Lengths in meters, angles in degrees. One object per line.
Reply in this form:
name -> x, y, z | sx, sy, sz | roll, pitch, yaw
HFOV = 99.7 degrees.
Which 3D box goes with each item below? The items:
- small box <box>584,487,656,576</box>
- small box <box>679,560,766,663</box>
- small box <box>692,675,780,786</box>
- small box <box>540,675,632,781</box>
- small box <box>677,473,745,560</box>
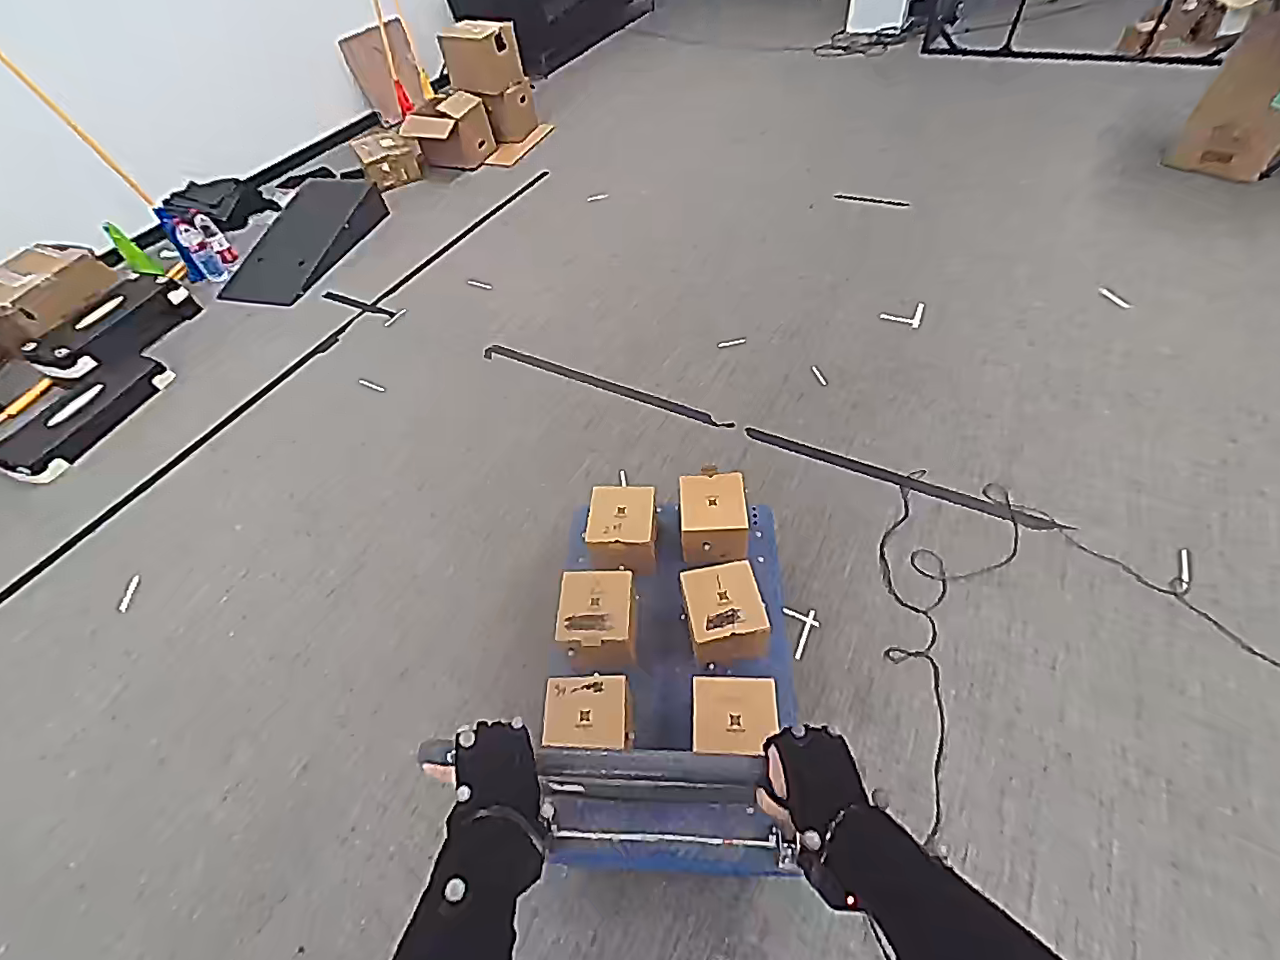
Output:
small box -> -0.046, 0.137, 1.446 | 0.168, 0.176, 0.179 | 0, 53, 7
small box -> 0.191, 0.318, 1.278 | 0.168, 0.176, 0.179 | -10, 51, -2
small box -> 0.192, 0.521, 1.118 | 0.168, 0.176, 0.179 | 0, 51, 6
small box -> -0.105, 0.529, 1.144 | 0.168, 0.176, 0.179 | -3, 52, 3
small box -> 0.188, 0.105, 1.448 | 0.168, 0.176, 0.179 | -4, 52, 4
